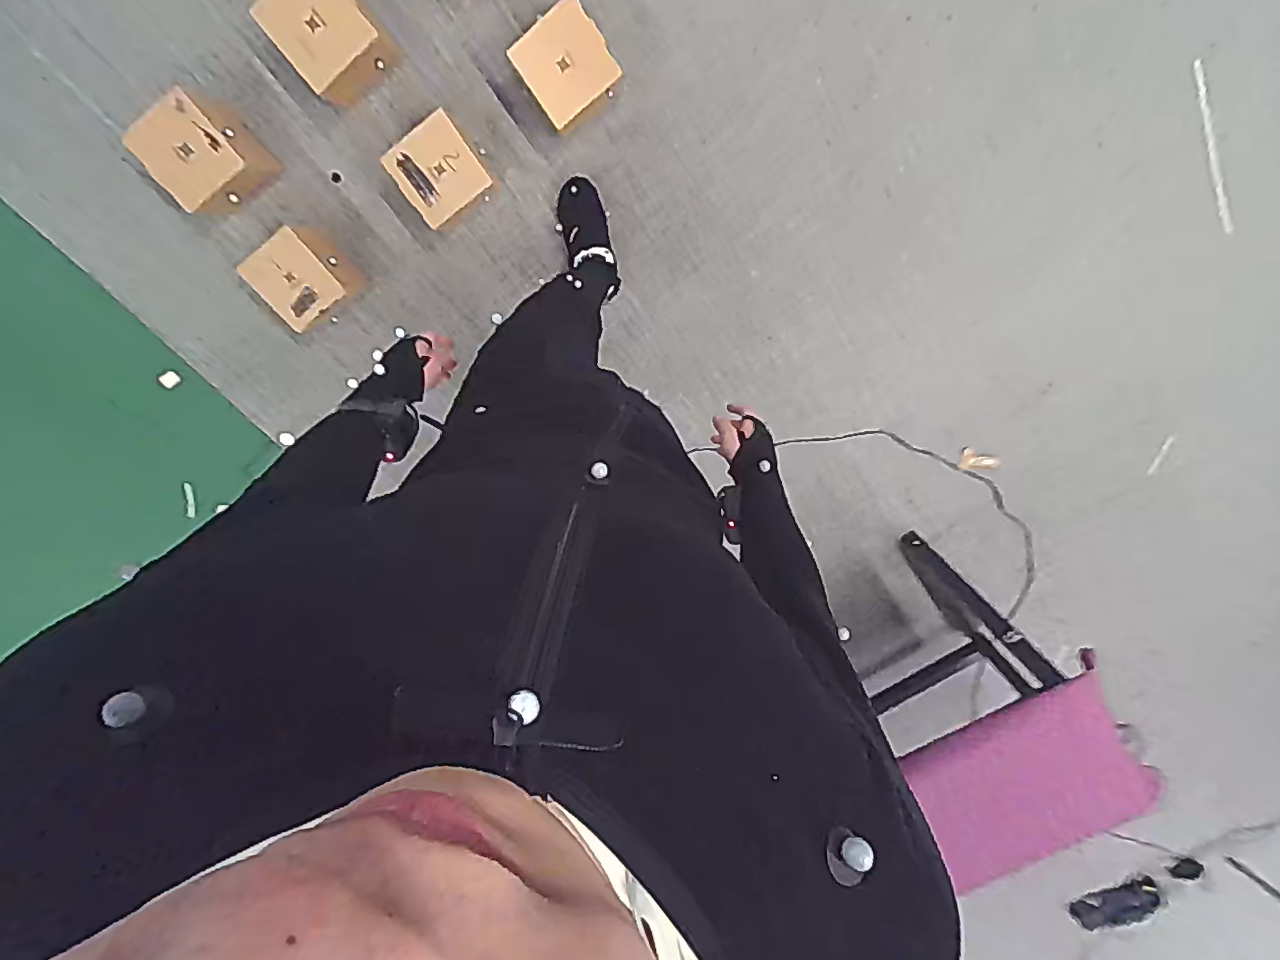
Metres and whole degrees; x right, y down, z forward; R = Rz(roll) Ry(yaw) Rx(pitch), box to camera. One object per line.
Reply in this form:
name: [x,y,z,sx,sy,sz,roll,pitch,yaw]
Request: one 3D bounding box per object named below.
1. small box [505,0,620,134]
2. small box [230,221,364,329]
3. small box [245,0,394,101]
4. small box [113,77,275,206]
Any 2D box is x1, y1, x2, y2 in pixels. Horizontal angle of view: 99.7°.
small box: [-0.161,-0.881,1.159,0.179,0.176,0.168,-35,114,10]
small box: [-0.798,-0.491,1.283,0.168,0.176,0.179,-33,114,10]
small box: [-0.630,-0.915,1.095,0.179,0.176,0.168,-34,114,11]
small box: [-0.941,-0.712,1.162,0.179,0.176,0.168,-31,115,10]
